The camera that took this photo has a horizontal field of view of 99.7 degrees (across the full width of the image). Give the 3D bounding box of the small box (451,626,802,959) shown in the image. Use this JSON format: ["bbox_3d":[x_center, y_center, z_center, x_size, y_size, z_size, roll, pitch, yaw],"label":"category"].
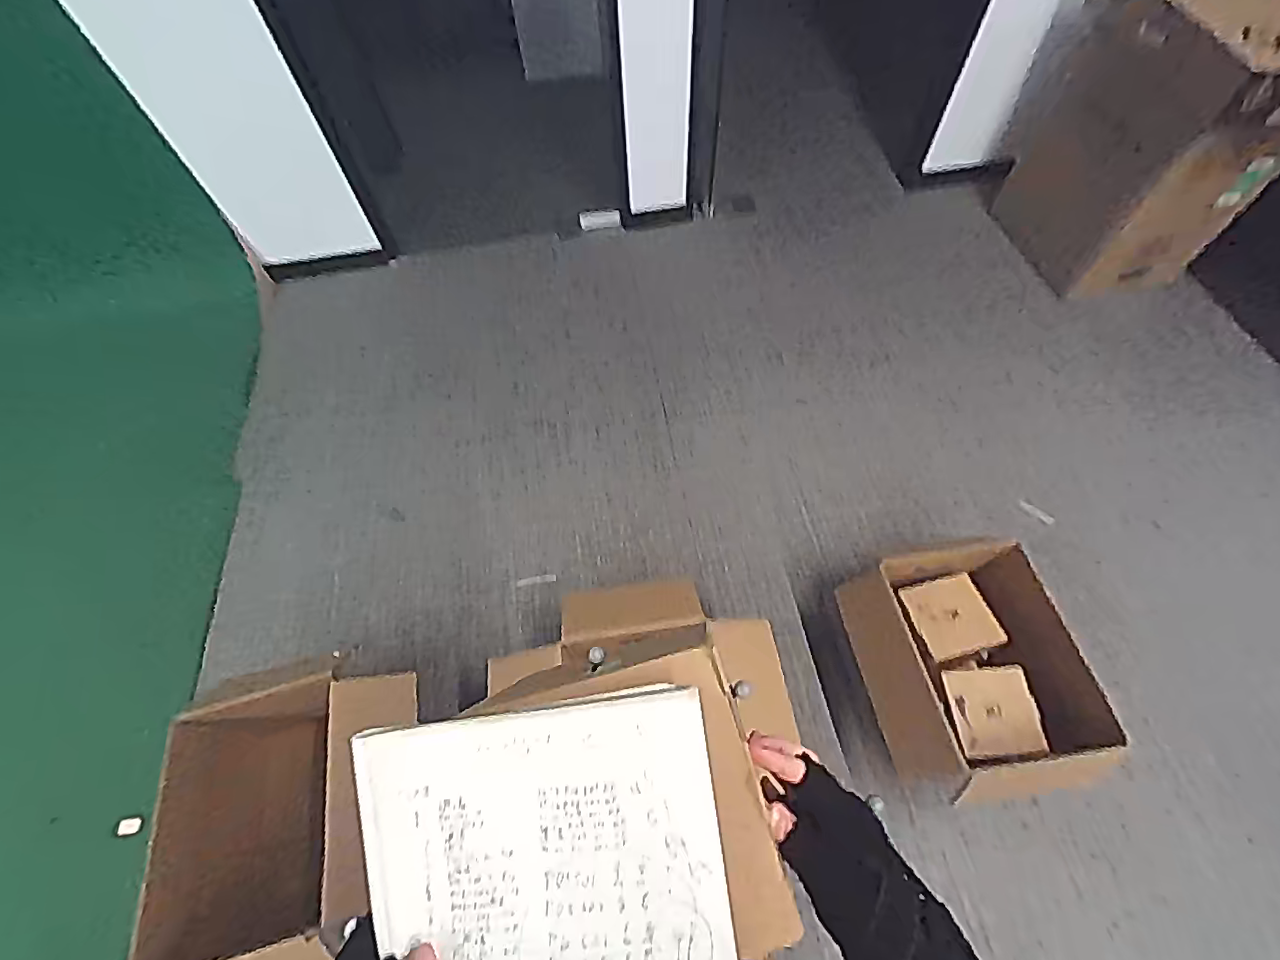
[{"bbox_3d":[-0.006,0.210,0.390,0.179,0.176,0.168,-16,78,3],"label":"small box"}]
